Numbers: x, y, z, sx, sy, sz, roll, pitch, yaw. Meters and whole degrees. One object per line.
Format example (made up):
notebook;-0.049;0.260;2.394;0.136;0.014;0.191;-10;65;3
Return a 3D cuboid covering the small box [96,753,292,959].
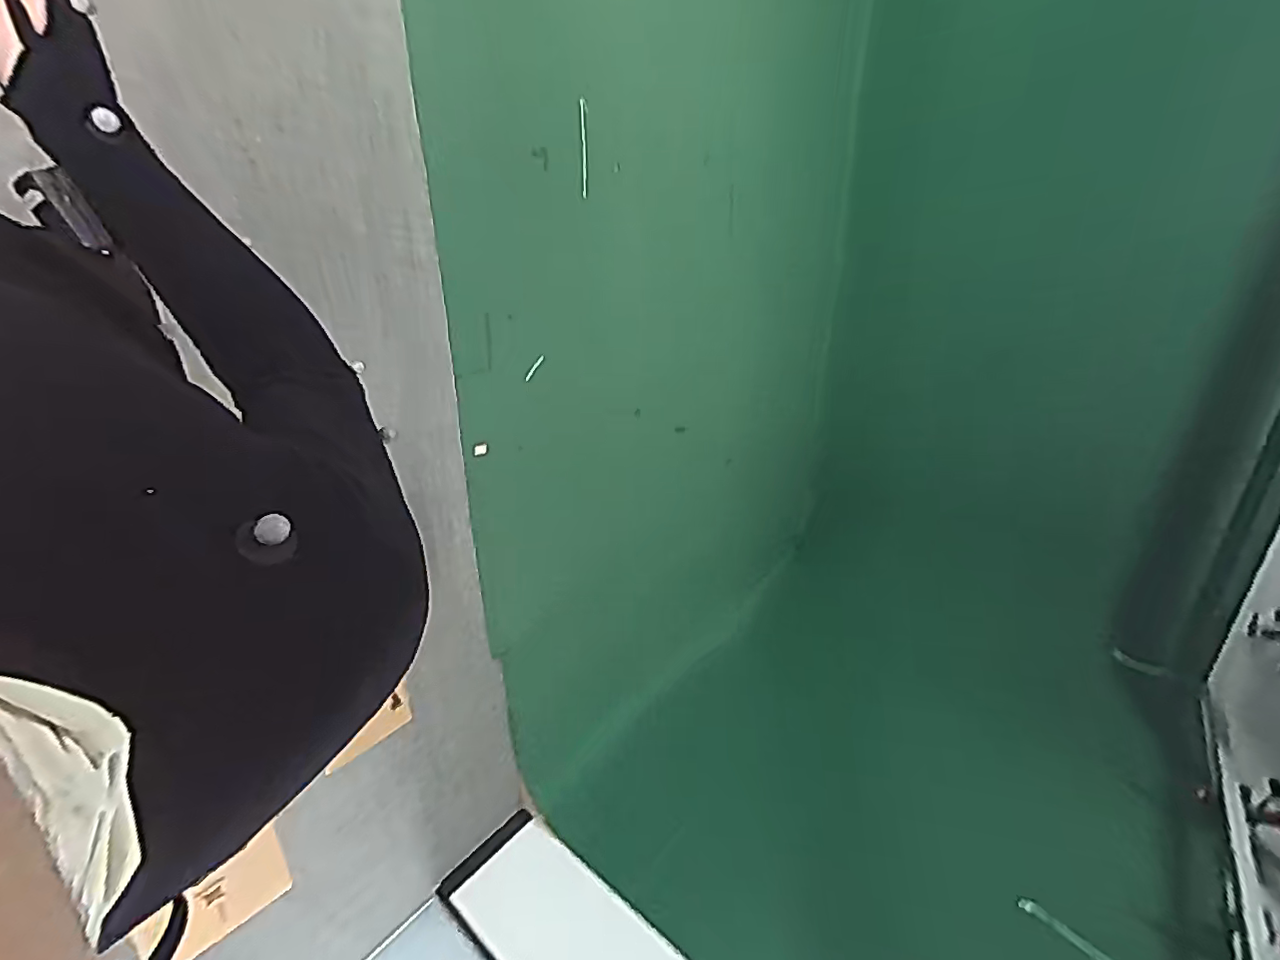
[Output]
small box;-0.637;0.530;0.777;0.168;0.176;0.179;-22;121;-45
